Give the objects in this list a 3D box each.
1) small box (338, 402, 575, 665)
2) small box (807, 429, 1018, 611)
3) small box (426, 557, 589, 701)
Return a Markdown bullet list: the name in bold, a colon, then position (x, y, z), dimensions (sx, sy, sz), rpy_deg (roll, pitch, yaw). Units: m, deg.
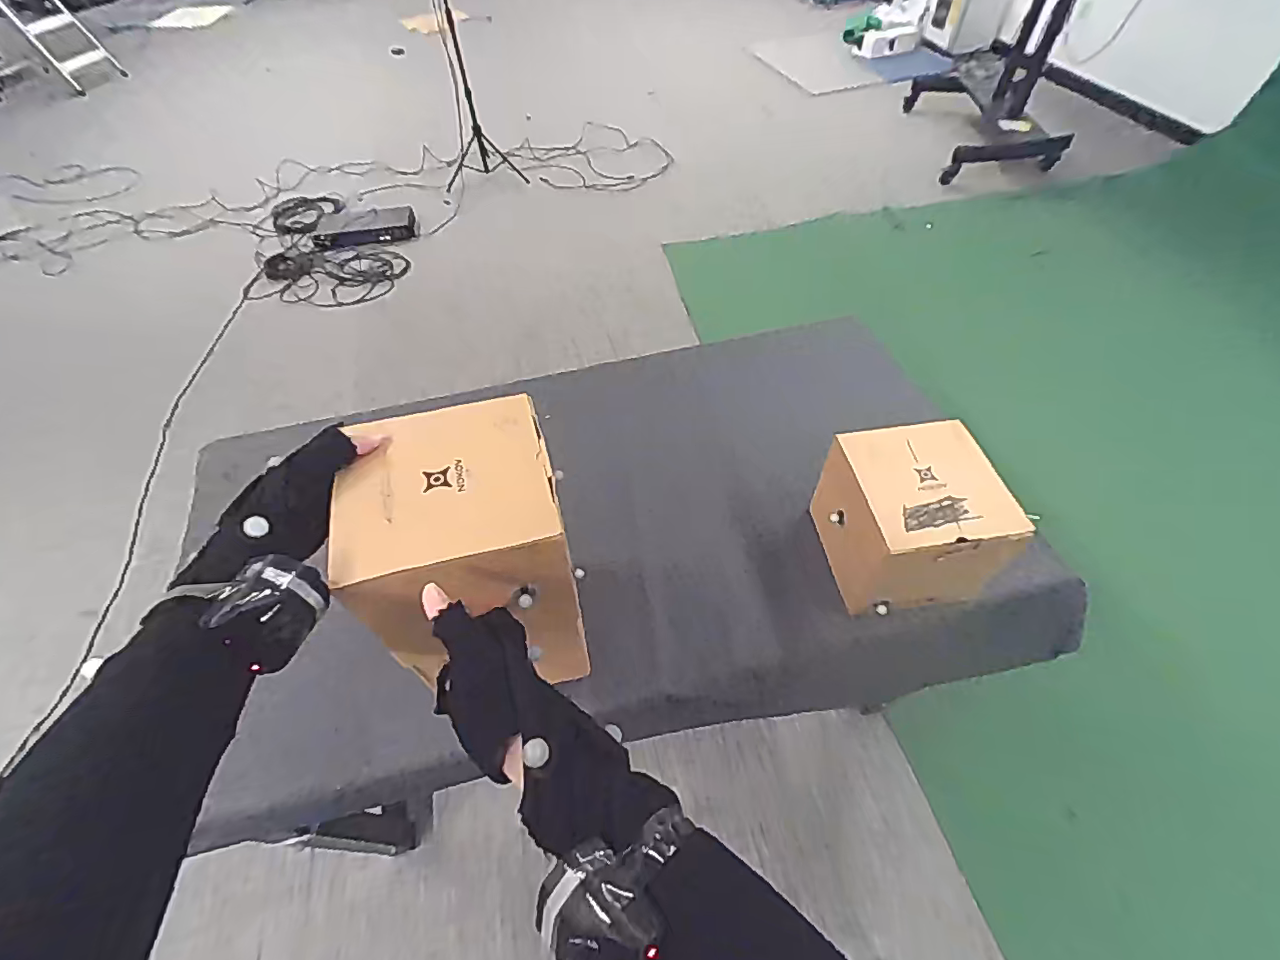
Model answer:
- **small box**: position (-0.164, 0.054, 0.523), dimensions (0.179, 0.176, 0.168), rpy_deg (-14, 53, -11)
- **small box**: position (0.336, 0.059, 0.710), dimensions (0.168, 0.176, 0.179), rpy_deg (-6, 51, -2)
- **small box**: position (-0.166, 0.151, 0.658), dimensions (0.179, 0.176, 0.168), rpy_deg (-10, 52, -7)
